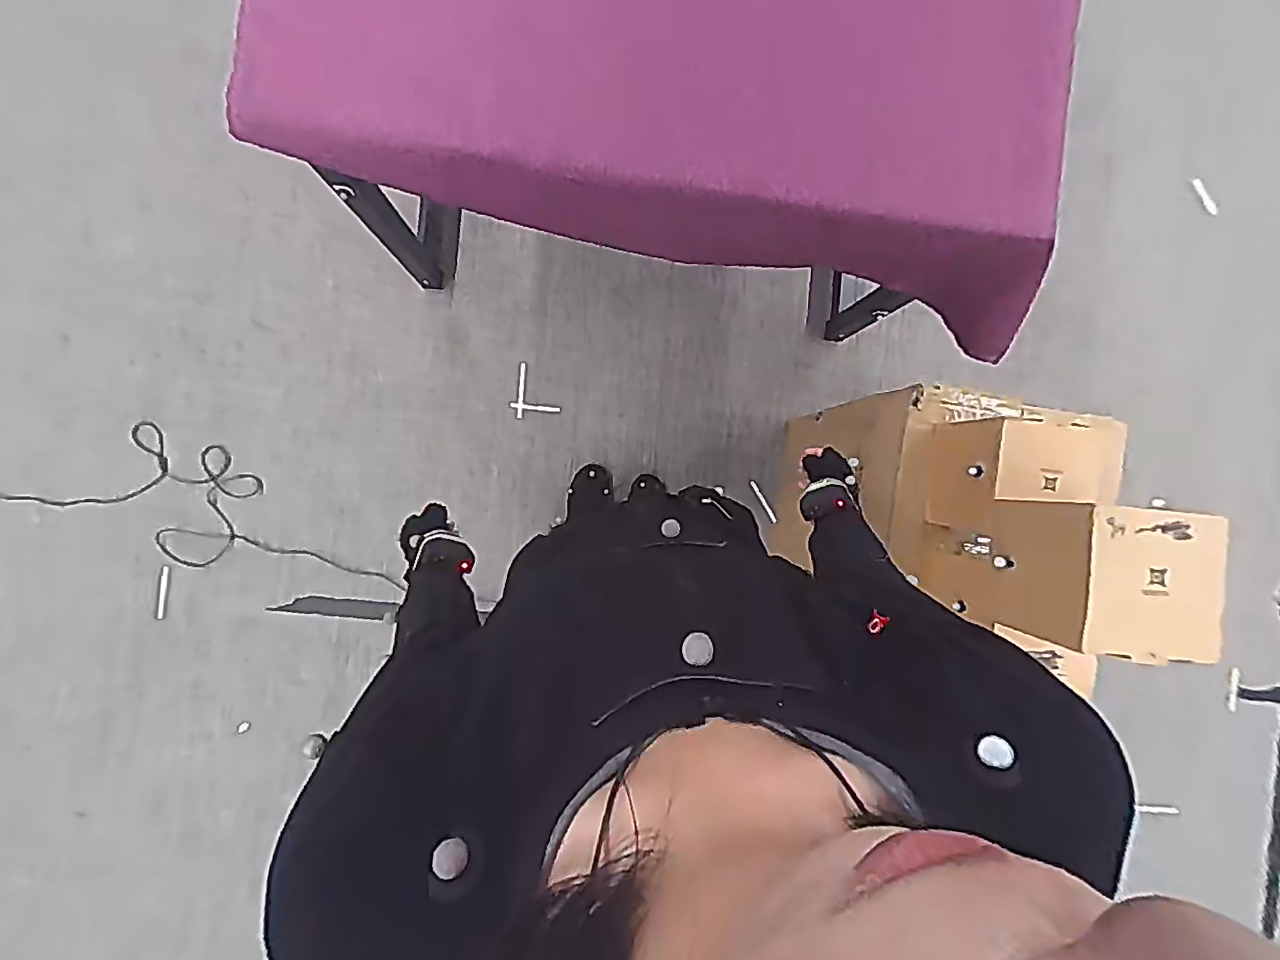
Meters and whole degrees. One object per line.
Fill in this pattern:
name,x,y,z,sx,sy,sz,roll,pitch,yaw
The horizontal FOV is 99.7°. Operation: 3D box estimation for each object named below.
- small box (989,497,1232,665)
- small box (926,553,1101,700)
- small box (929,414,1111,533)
small box,0.586,0.118,0.696,0.168,0.176,0.179,6,89,-3
small box,0.585,0.221,0.858,0.168,0.176,0.179,10,87,-3
small box,0.590,-0.001,0.861,0.168,0.176,0.179,6,91,-3
